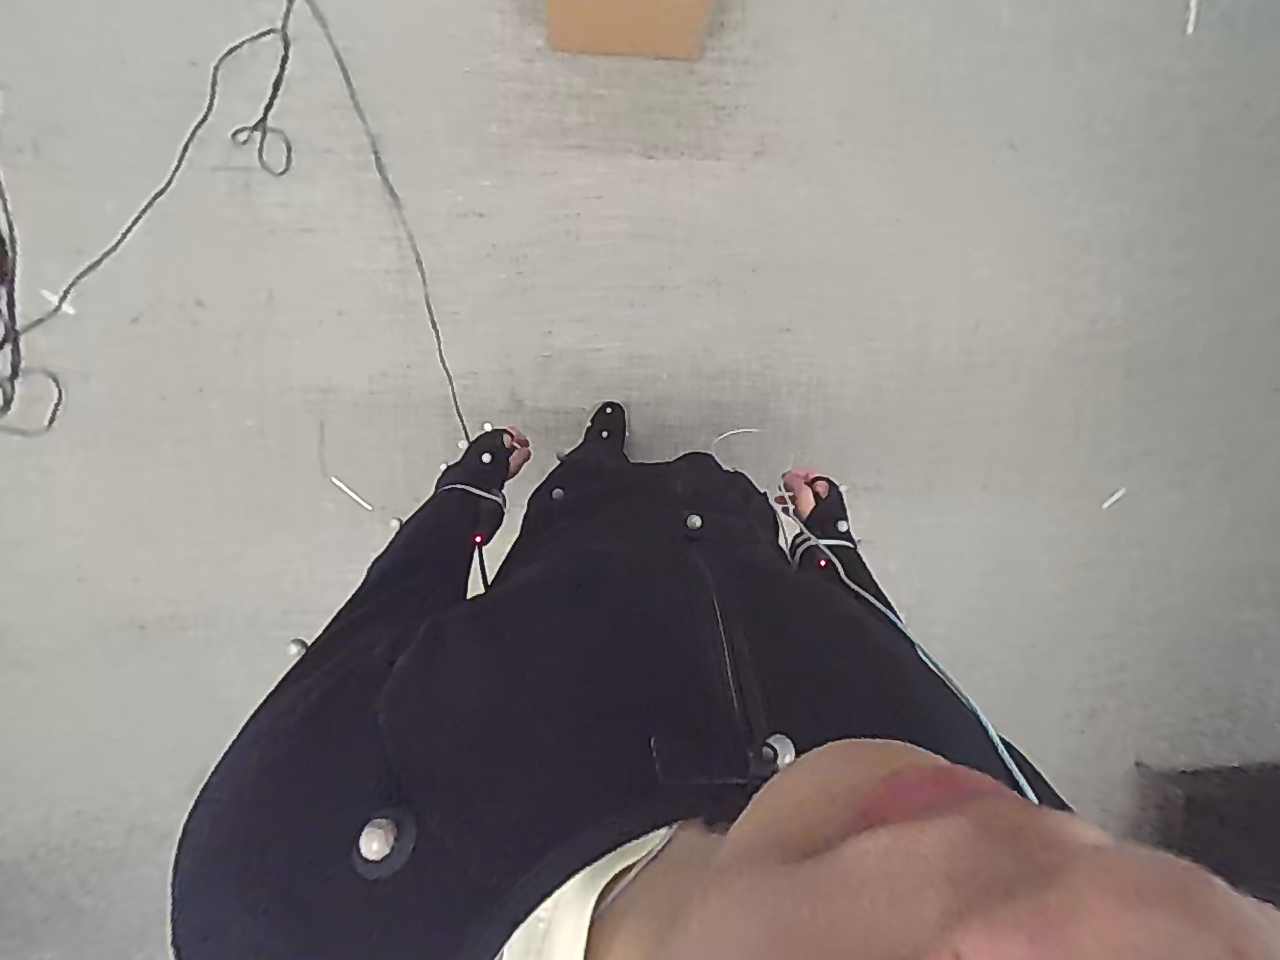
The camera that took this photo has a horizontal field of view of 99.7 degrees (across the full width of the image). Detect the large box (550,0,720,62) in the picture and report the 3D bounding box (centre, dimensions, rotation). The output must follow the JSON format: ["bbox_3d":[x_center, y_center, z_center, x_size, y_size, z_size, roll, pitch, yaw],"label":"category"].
[{"bbox_3d":[-0.017,-1.270,1.297,0.408,0.320,0.320,0,98,-5],"label":"large box"}]
